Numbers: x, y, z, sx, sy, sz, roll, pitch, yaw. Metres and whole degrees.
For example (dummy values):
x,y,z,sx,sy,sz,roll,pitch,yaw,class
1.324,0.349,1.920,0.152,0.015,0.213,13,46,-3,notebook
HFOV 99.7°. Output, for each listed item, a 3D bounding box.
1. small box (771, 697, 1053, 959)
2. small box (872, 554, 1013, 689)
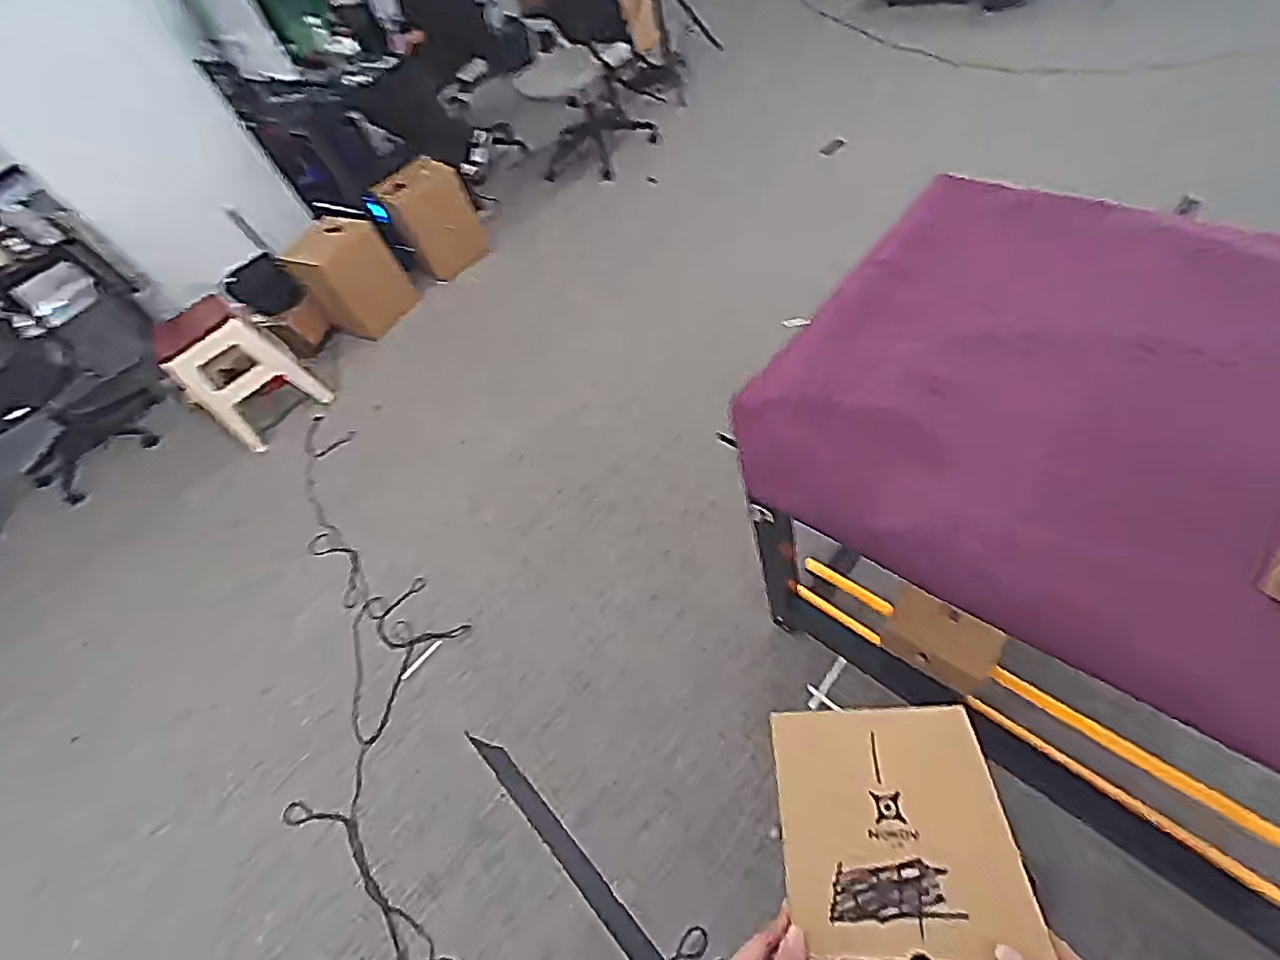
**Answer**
x,y,z,sx,sy,sz,roll,pitch,yaw,class
0.211,0.312,0.470,0.168,0.176,0.179,-7,41,12,small box
0.567,0.276,1.034,0.179,0.176,0.168,26,69,32,small box
